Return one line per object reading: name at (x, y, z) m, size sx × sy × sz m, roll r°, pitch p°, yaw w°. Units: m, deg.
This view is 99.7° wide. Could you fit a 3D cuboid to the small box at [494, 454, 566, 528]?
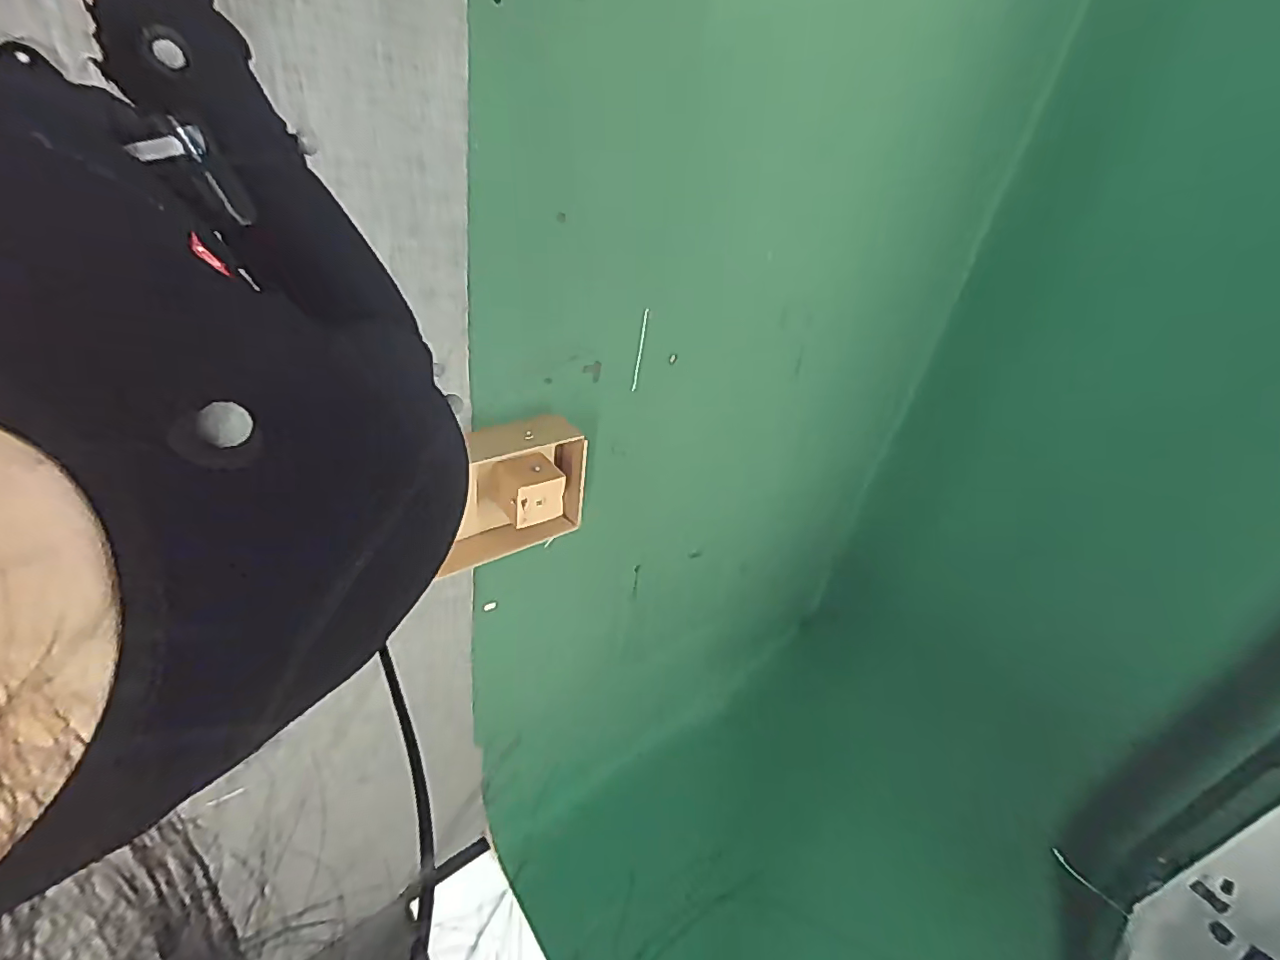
small box at (-0.370, 0.030, 1.816) m, size 0.179 × 0.176 × 0.168 m, roll -17°, pitch 132°, yaw -35°
